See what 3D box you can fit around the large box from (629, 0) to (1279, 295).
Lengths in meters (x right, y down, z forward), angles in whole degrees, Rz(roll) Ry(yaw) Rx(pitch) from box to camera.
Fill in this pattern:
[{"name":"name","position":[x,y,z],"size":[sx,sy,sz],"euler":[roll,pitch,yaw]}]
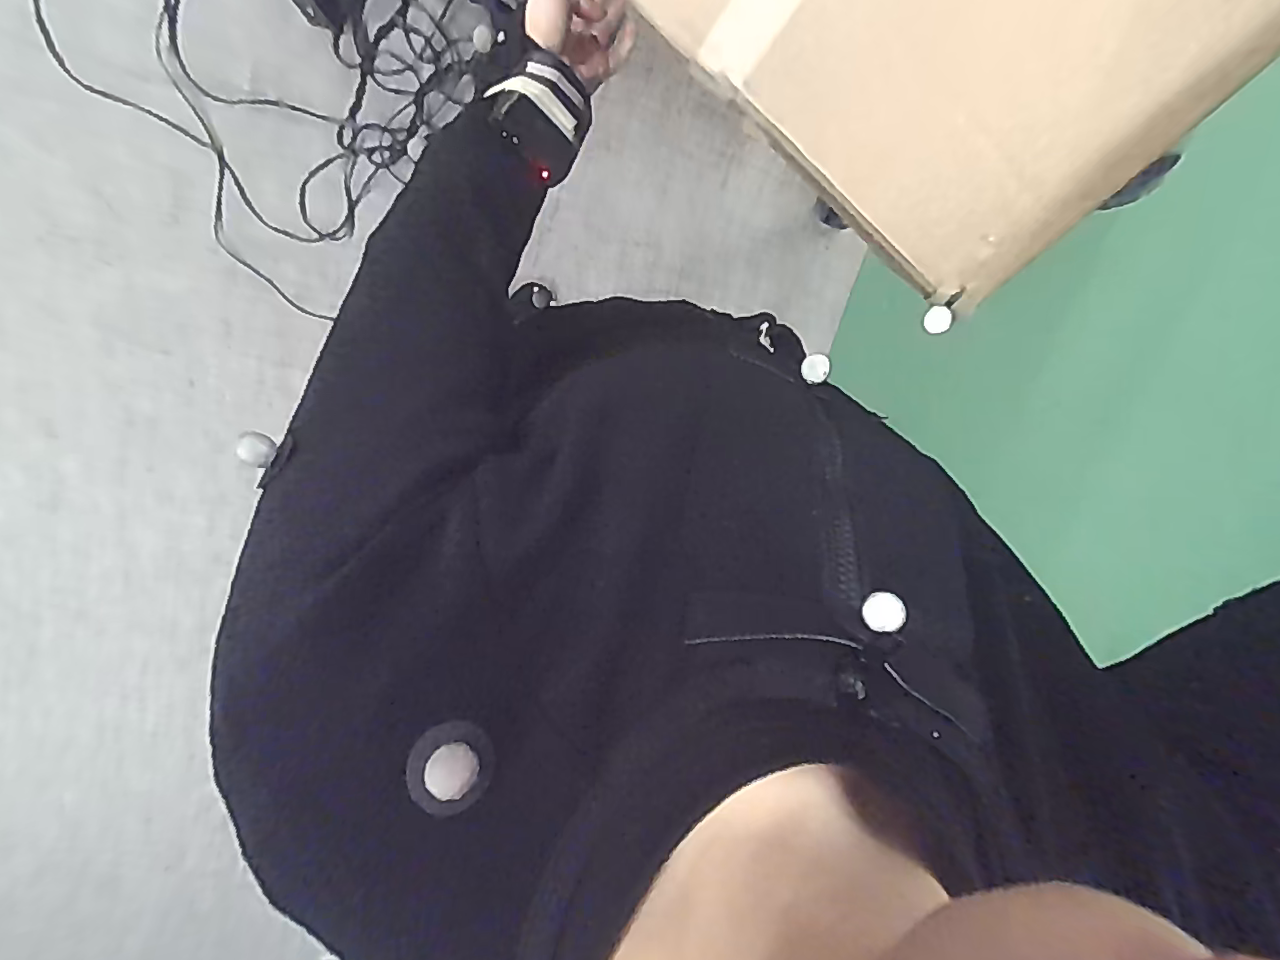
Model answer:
[{"name":"large box","position":[0.179,-0.383,0.250],"size":[0.320,0.320,0.408],"euler":[35,125,-13]}]
